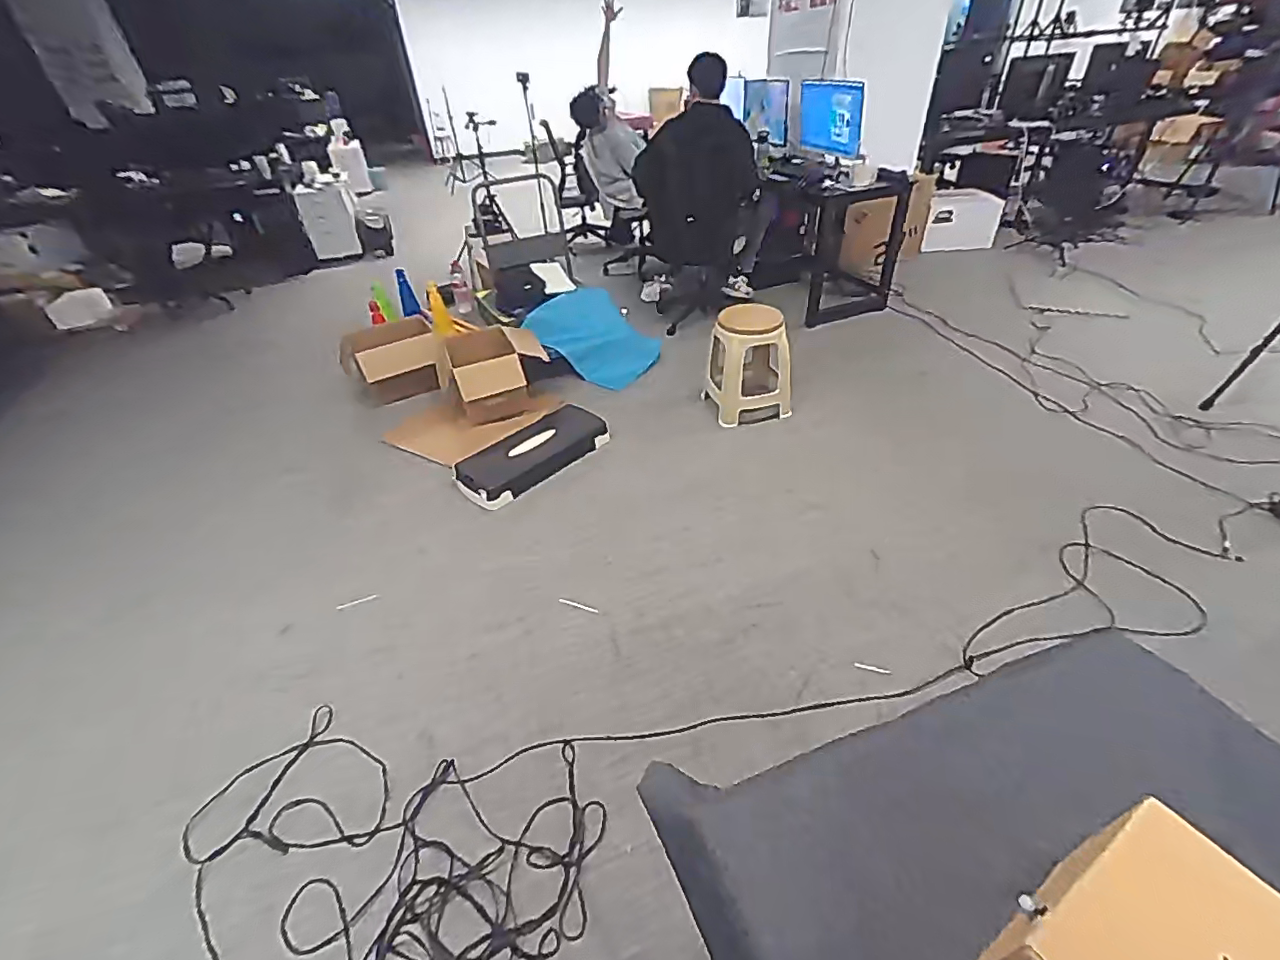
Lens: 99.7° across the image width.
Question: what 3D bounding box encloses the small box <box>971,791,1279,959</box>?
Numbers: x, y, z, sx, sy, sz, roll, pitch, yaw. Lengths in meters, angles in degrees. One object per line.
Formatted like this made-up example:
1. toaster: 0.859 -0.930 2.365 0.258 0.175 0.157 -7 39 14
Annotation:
1. small box: 0.383 0.380 0.395 0.179 0.176 0.168 -24 43 -22
